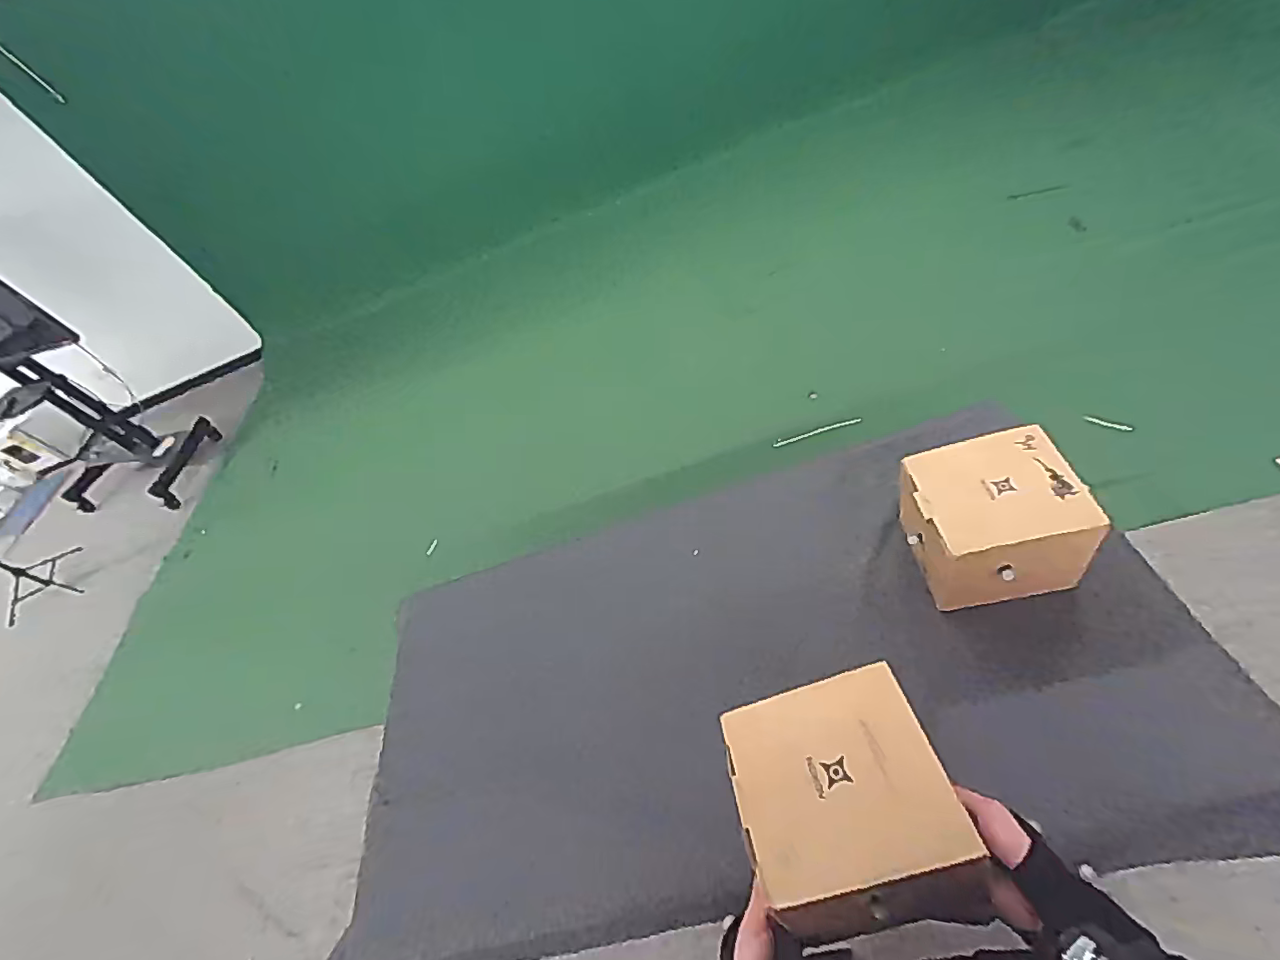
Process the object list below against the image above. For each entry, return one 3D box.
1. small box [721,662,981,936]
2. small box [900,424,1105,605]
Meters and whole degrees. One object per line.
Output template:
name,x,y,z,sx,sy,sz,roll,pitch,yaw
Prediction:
small box,0.200,0.314,0.527,0.179,0.176,0.168,-22,39,8
small box,0.479,0.056,0.746,0.179,0.176,0.168,-16,50,14
